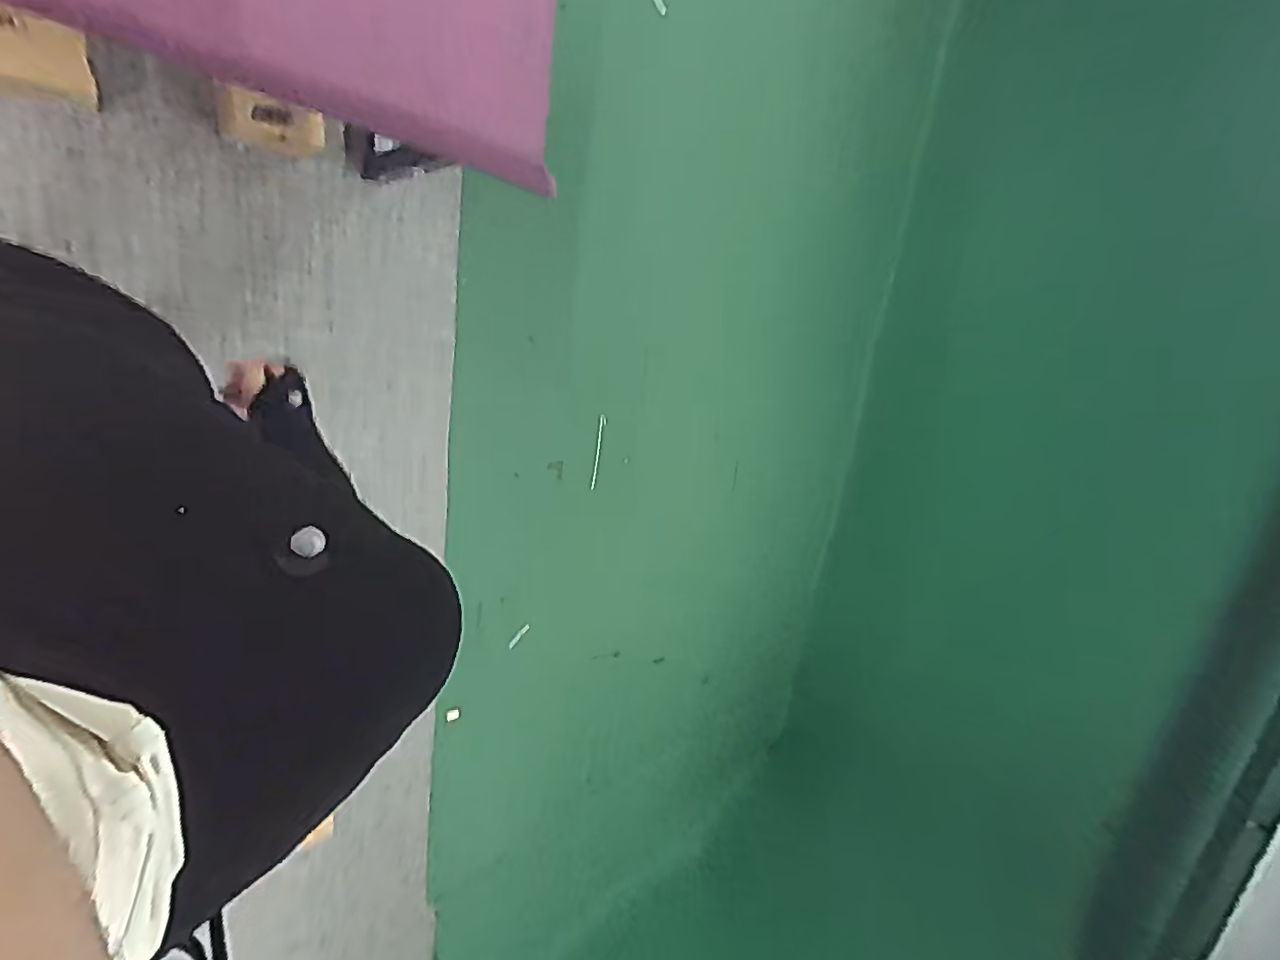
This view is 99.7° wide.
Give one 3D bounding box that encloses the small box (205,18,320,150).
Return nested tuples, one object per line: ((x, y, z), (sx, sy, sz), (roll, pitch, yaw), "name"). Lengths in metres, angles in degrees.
((-0.808, -0.830, 1.158), (0.168, 0.176, 0.179), (-12, 114, -44), "small box")

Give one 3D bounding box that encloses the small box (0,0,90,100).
((-1.069, -0.763, 0.907), (0.179, 0.176, 0.168), (-16, 116, -42), "small box")
